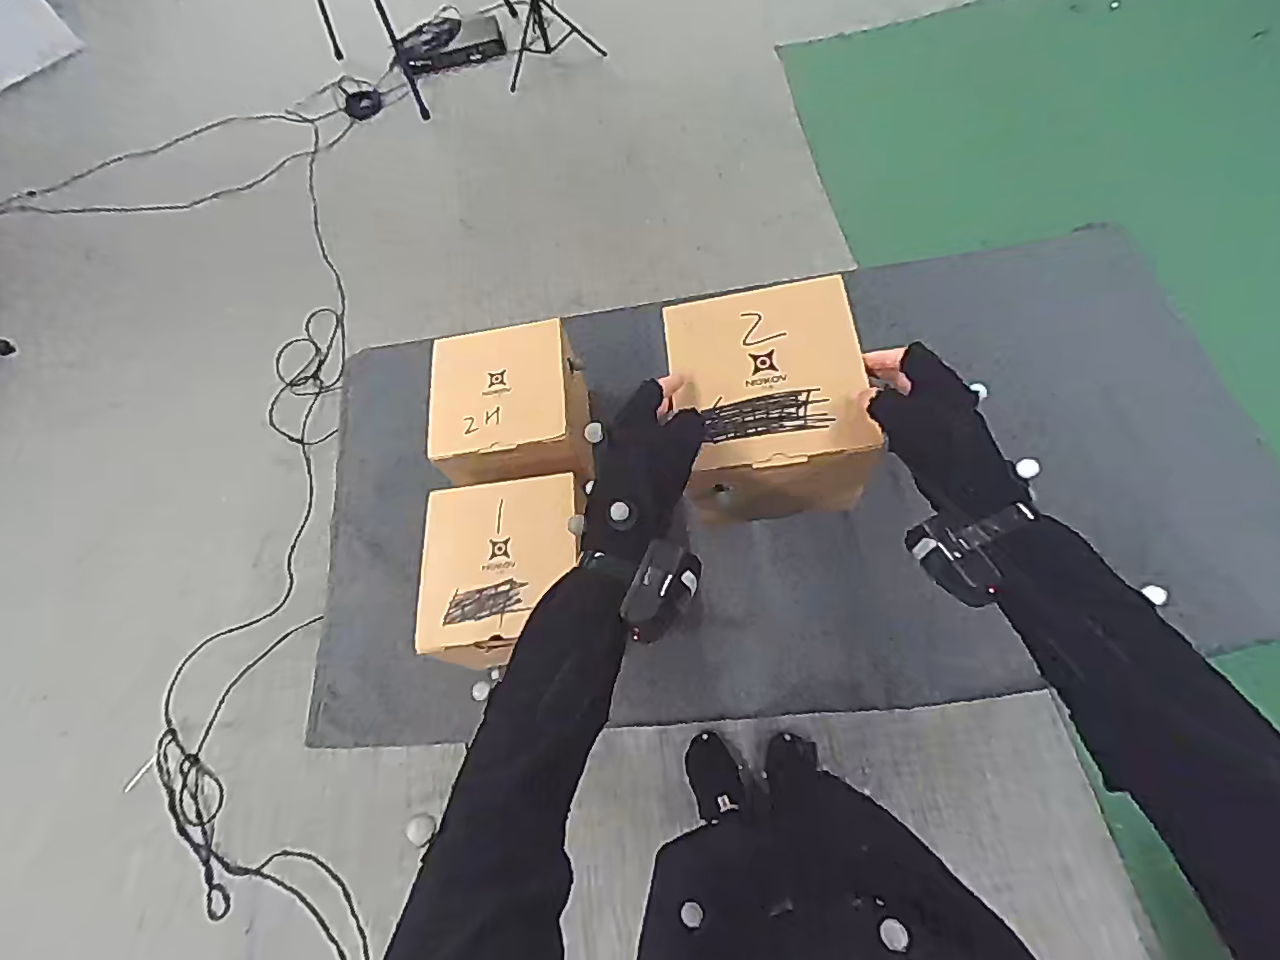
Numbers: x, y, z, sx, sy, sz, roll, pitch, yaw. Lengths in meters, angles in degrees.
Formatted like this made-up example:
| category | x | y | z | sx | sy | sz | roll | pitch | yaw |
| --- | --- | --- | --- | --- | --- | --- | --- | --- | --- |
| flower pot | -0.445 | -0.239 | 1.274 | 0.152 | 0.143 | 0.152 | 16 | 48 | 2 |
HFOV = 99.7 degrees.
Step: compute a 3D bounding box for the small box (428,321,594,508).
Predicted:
| category | x | y | z | sx | sy | sz | roll | pitch | yaw |
| --- | --- | --- | --- | --- | --- | --- | --- | --- | --- |
| small box | -0.160 | -0.080 | 0.720 | 0.168 | 0.176 | 0.179 | -8 | 66 | 4 |
